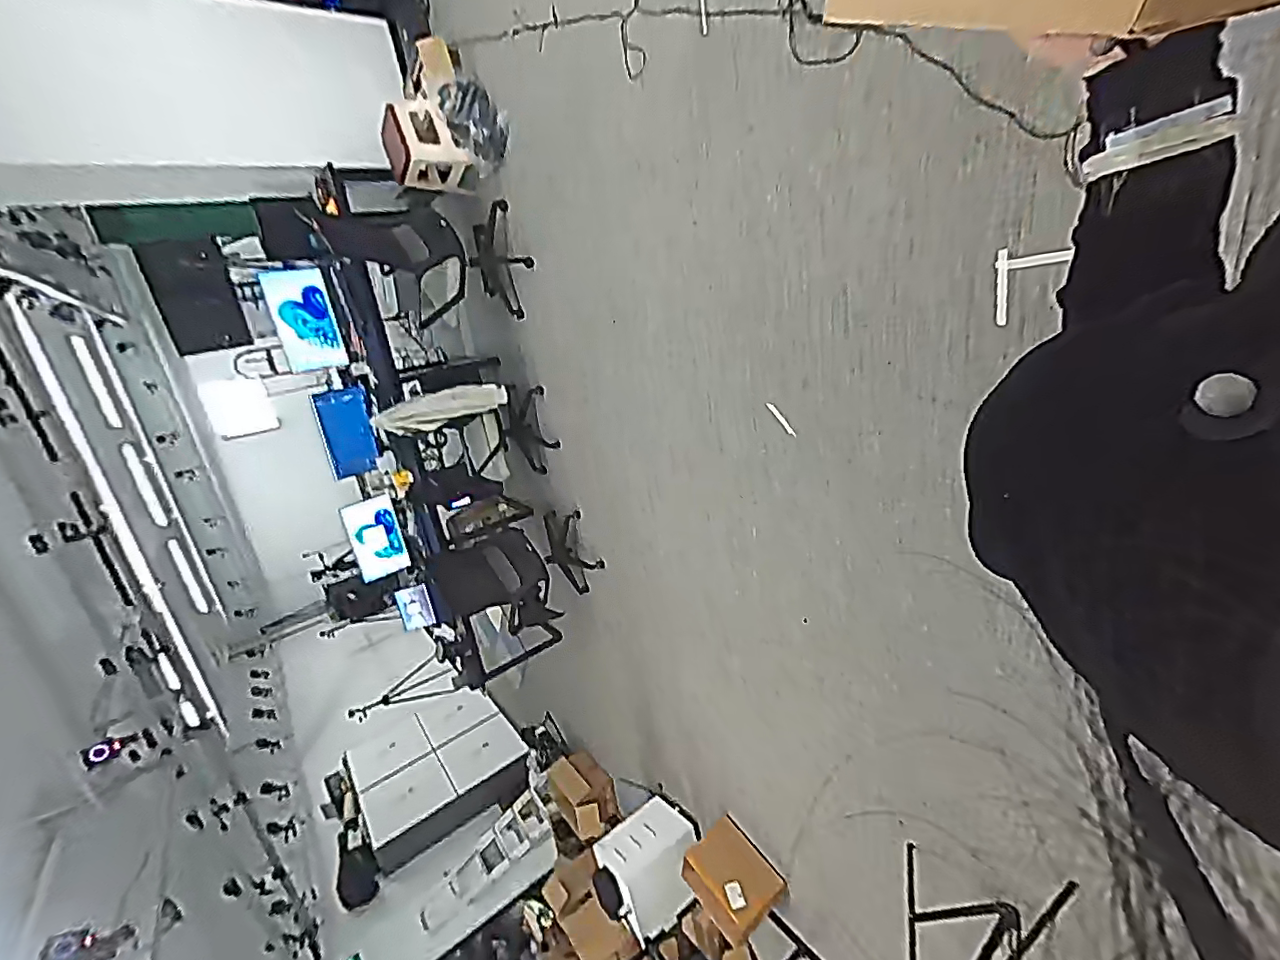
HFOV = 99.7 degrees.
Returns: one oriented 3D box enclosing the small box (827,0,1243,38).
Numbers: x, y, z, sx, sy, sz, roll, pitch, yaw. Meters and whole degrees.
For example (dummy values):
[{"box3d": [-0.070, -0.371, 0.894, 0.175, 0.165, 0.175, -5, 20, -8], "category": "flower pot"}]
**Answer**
[{"box3d": [0.224, -0.326, 0.252, 0.179, 0.176, 0.168, 47, 153, 39], "category": "small box"}]
